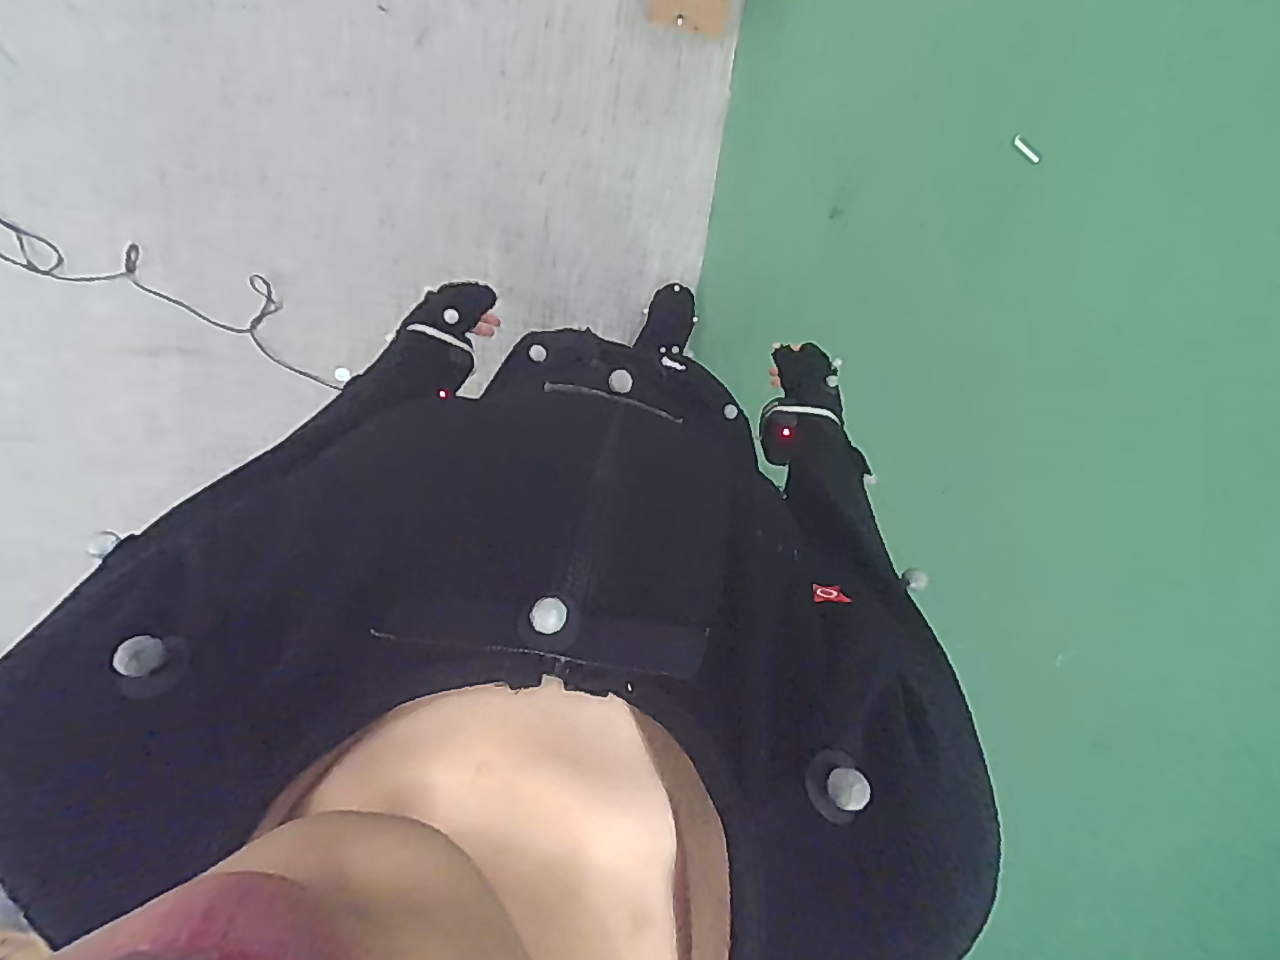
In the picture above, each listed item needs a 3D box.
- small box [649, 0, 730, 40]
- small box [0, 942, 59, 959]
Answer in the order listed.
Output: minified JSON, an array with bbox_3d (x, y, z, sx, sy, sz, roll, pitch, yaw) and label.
[{"bbox_3d":[0.108,-1.045,1.093,0.168,0.176,0.179,9,107,0],"label":"small box"},{"bbox_3d":[-1.191,0.976,0.965,0.168,0.176,0.179,7,107,-1],"label":"small box"}]
